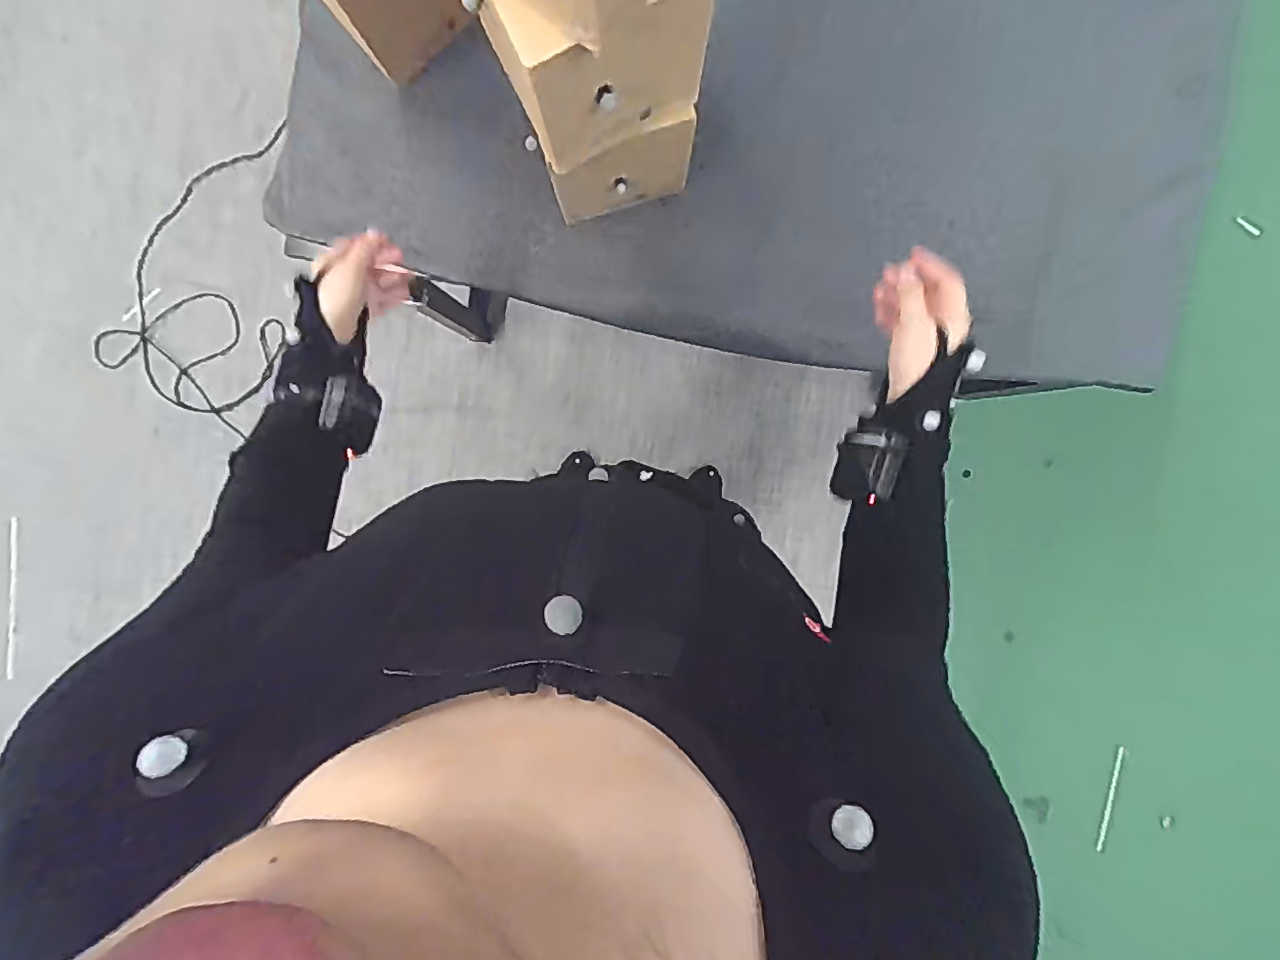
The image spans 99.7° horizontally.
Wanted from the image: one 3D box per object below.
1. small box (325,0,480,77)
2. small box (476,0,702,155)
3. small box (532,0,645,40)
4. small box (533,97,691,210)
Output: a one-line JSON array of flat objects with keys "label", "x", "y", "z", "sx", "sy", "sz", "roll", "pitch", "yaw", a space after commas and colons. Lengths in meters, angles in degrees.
[{"label": "small box", "x": -0.314, "y": -0.631, "z": 0.623, "sx": 0.168, "sy": 0.176, "sz": 0.179, "roll": -41, "pitch": 94, "yaw": 3}, {"label": "small box", "x": -0.052, "y": -0.426, "z": 0.475, "sx": 0.168, "sy": 0.176, "sz": 0.179, "roll": -27, "pitch": 93, "yaw": 3}, {"label": "small box", "x": -0.048, "y": -0.422, "z": 0.313, "sx": 0.179, "sy": 0.176, "sz": 0.168, "roll": 37, "pitch": 95, "yaw": -3}, {"label": "small box", "x": -0.045, "y": -0.445, "z": 0.637, "sx": 0.168, "sy": 0.176, "sz": 0.179, "roll": -16, "pitch": 94, "yaw": 1}]
